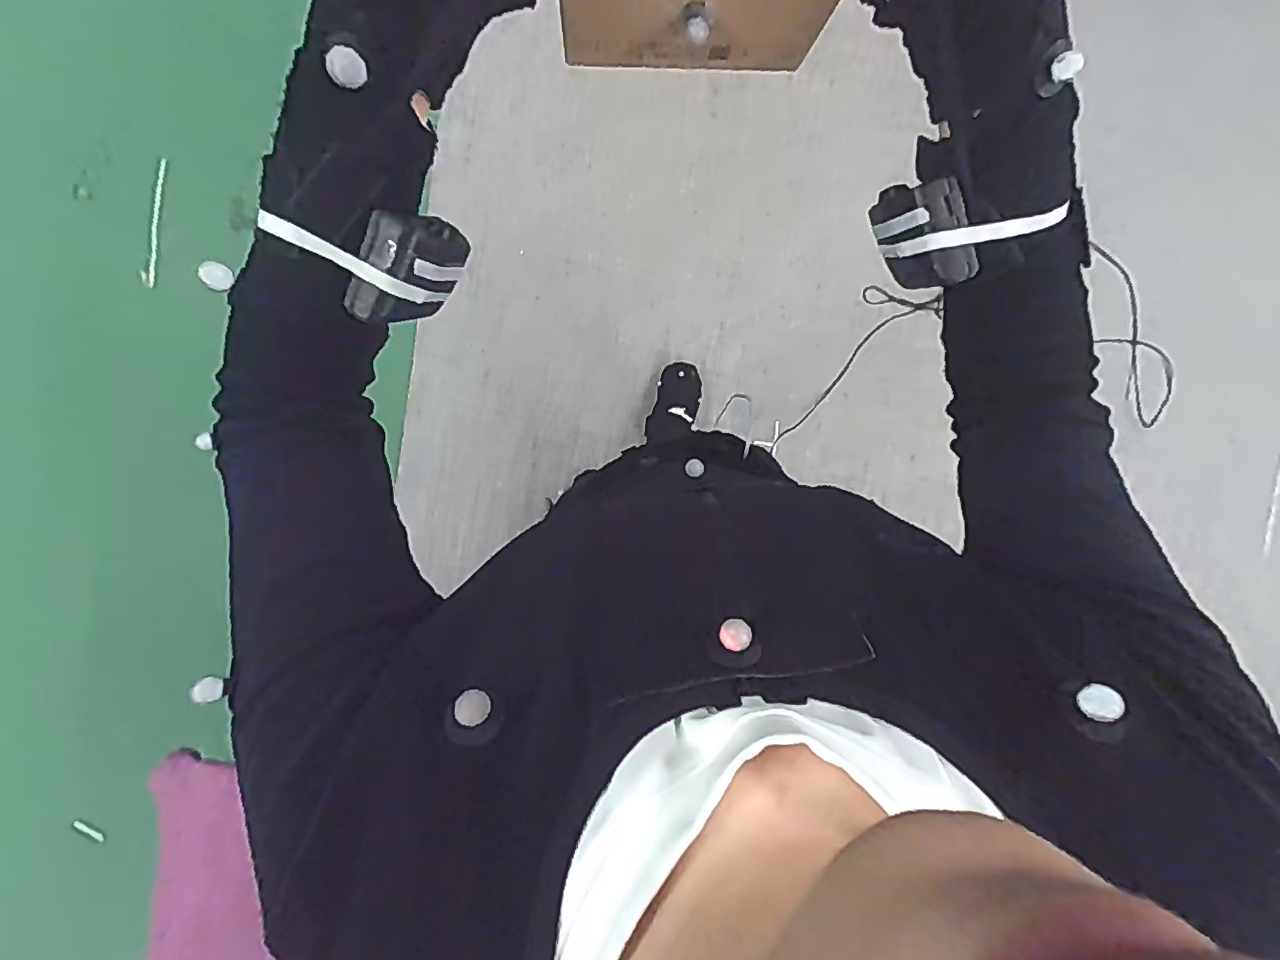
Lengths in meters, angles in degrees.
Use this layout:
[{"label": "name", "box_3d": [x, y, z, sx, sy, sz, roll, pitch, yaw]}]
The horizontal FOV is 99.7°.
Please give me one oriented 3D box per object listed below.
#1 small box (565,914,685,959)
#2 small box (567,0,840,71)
[{"label": "small box", "box_3d": [-0.030, 0.734, 0.719, 0.168, 0.176, 0.179, 15, 94, -4]}, {"label": "small box", "box_3d": [0.039, -0.360, 0.279, 0.168, 0.176, 0.179, -1, 98, -4]}]
